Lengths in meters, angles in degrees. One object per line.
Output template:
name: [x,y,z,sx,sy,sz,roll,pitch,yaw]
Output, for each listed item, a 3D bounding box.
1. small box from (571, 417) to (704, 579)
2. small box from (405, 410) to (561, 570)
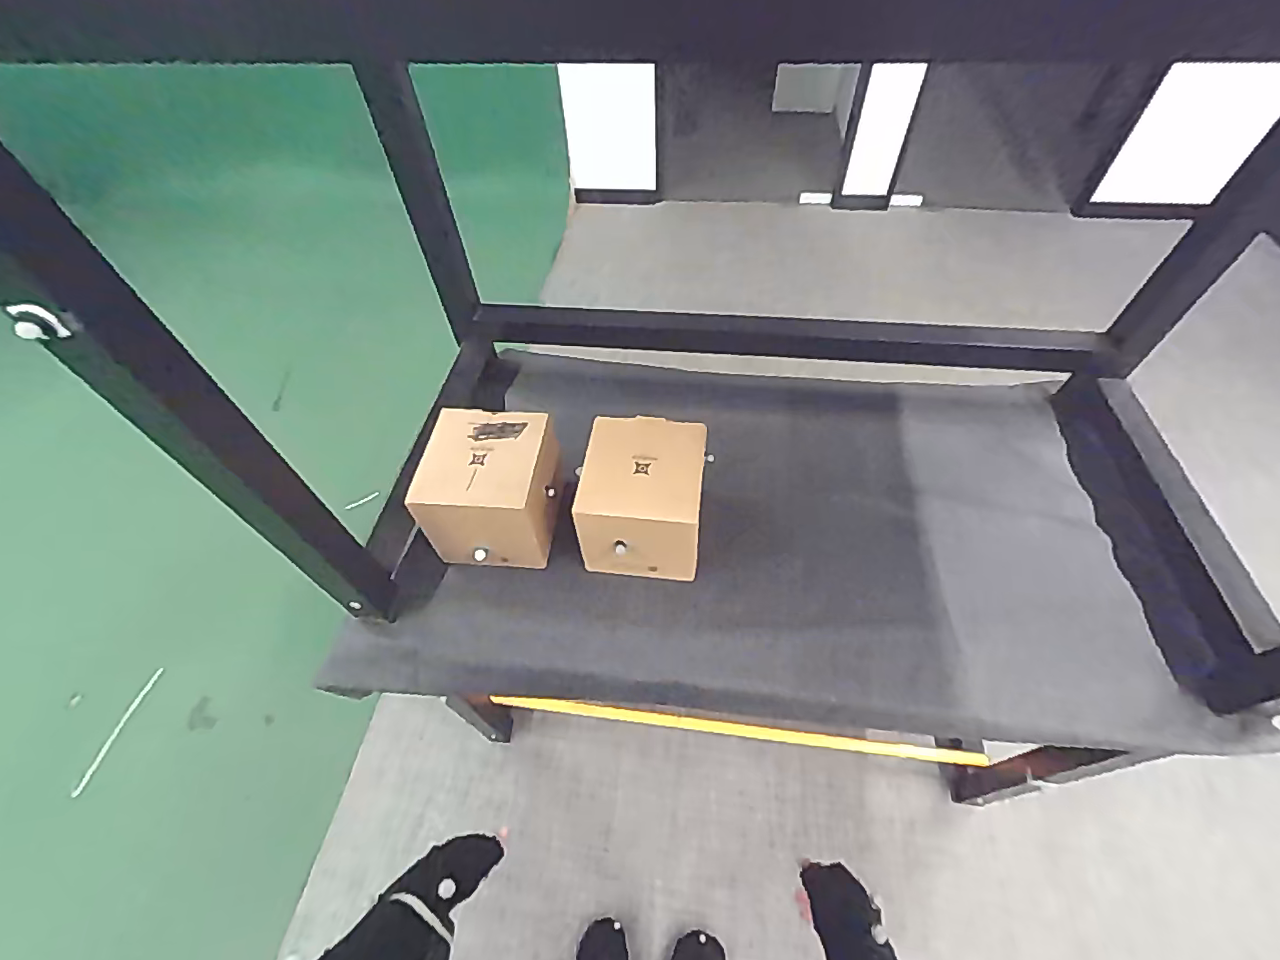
small box: [0.005,0.030,0.803,0.168,0.176,0.179,5,52,6]
small box: [-0.221,0.016,0.822,0.168,0.176,0.179,3,53,5]
